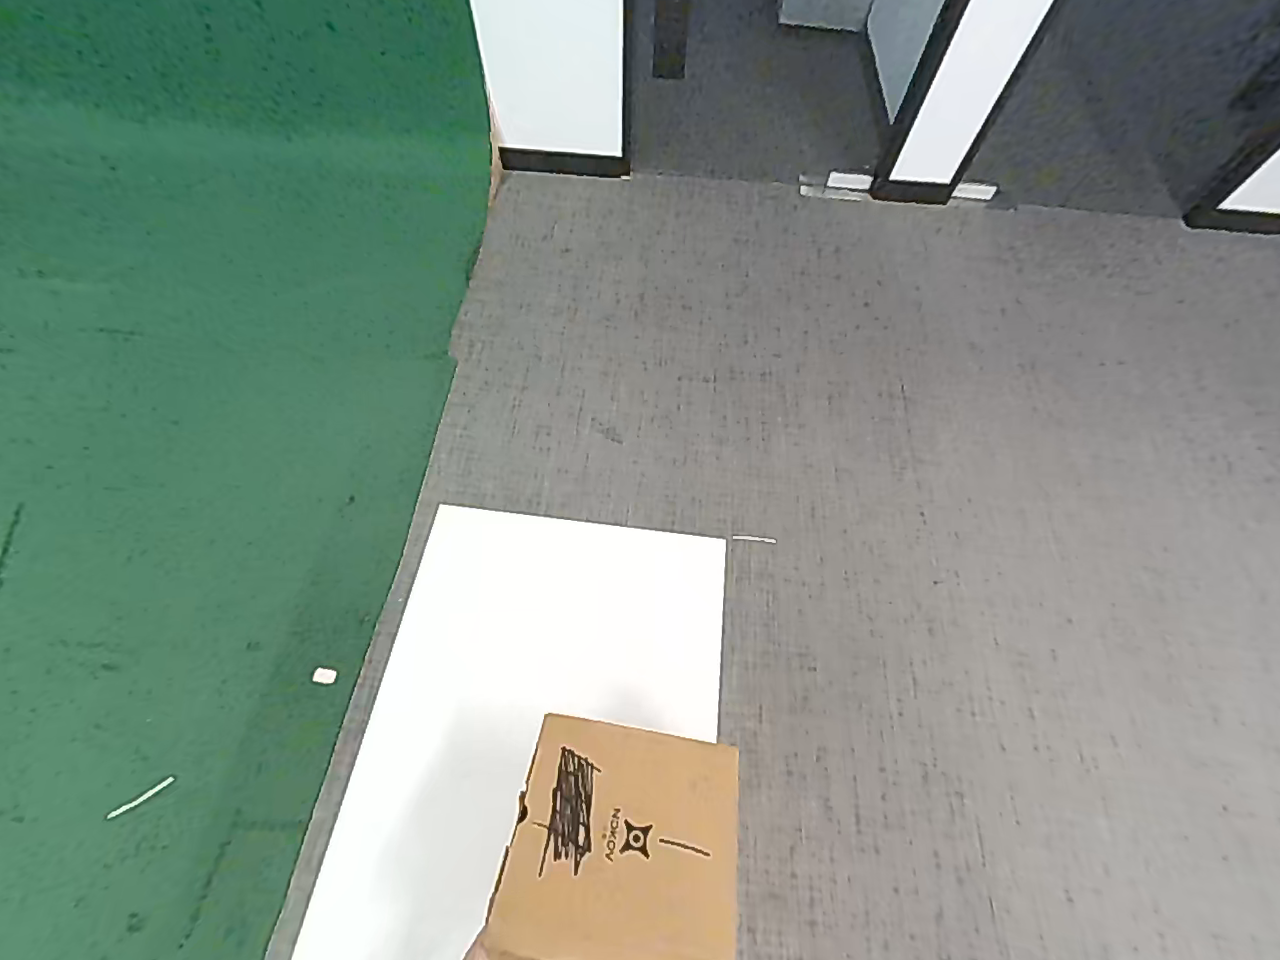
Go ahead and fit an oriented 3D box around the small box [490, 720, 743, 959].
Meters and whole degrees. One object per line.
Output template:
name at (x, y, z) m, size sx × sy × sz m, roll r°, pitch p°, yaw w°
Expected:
small box at (-0.013, 0.342, 0.477) m, size 0.179 × 0.176 × 0.168 m, roll 10°, pitch 43°, yaw 3°
